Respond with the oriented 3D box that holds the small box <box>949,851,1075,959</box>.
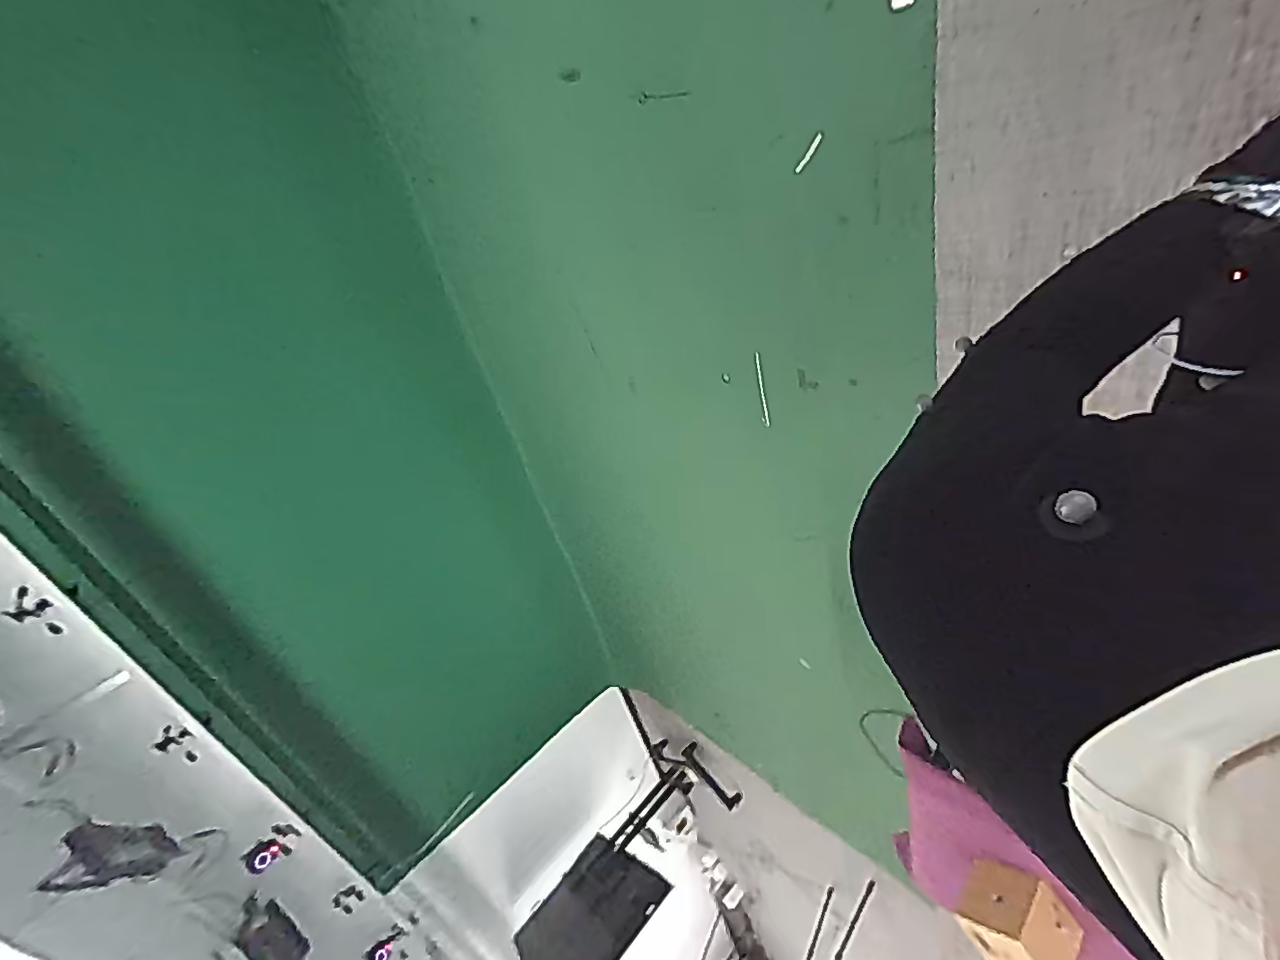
[{"bbox_3d":[0.924,1.070,1.342,0.168,0.176,0.179,53,149,0],"label":"small box"}]
